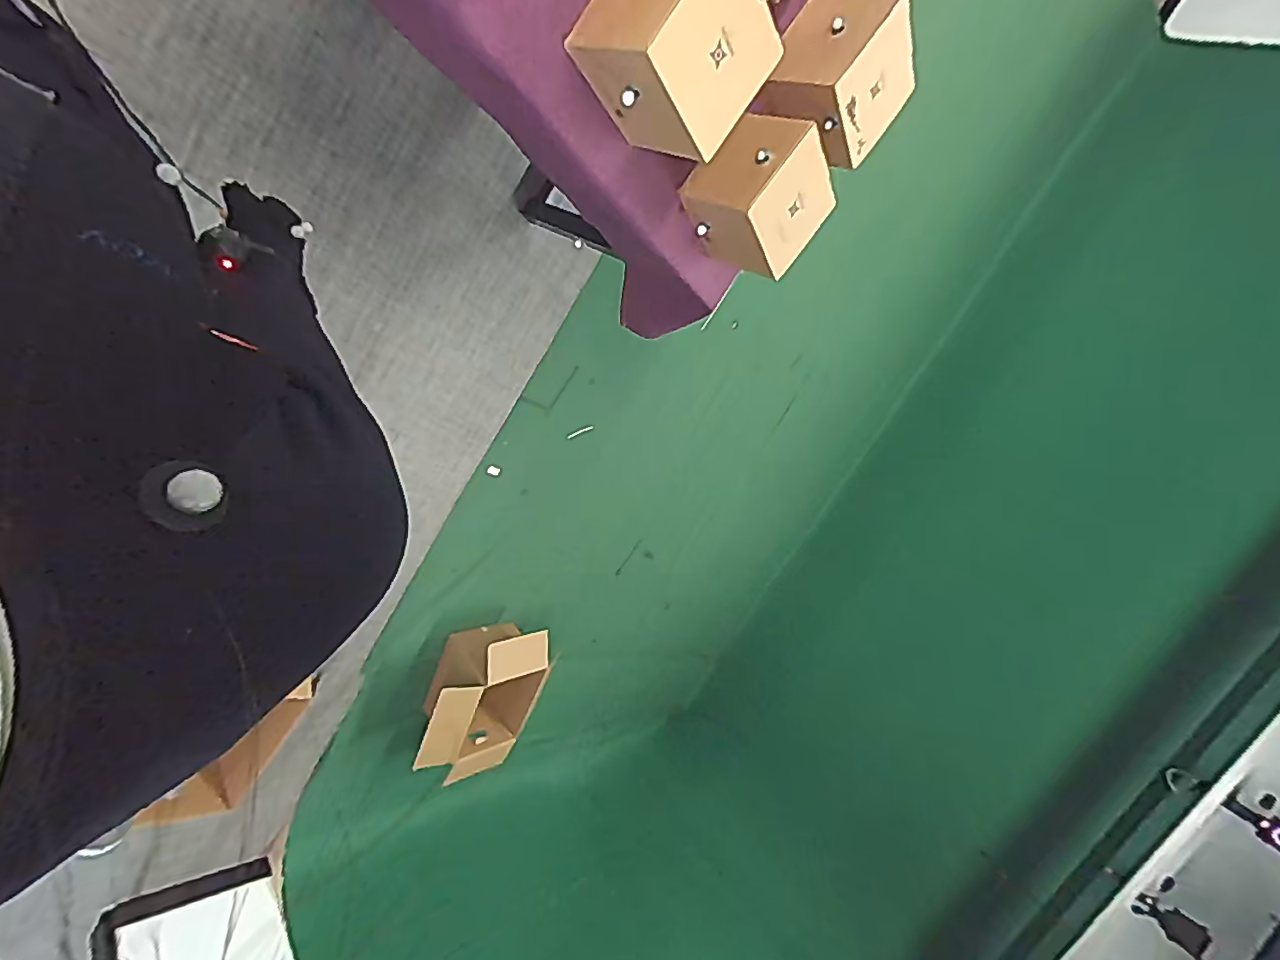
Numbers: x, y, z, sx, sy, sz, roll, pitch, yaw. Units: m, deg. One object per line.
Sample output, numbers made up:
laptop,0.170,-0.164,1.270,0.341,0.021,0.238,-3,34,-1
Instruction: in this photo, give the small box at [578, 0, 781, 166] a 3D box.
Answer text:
small box,0.045,-0.553,0.702,0.179,0.176,0.168,-54,144,4

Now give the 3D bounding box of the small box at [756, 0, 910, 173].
small box,0.325,-0.666,0.915,0.179,0.176,0.168,-54,144,2
